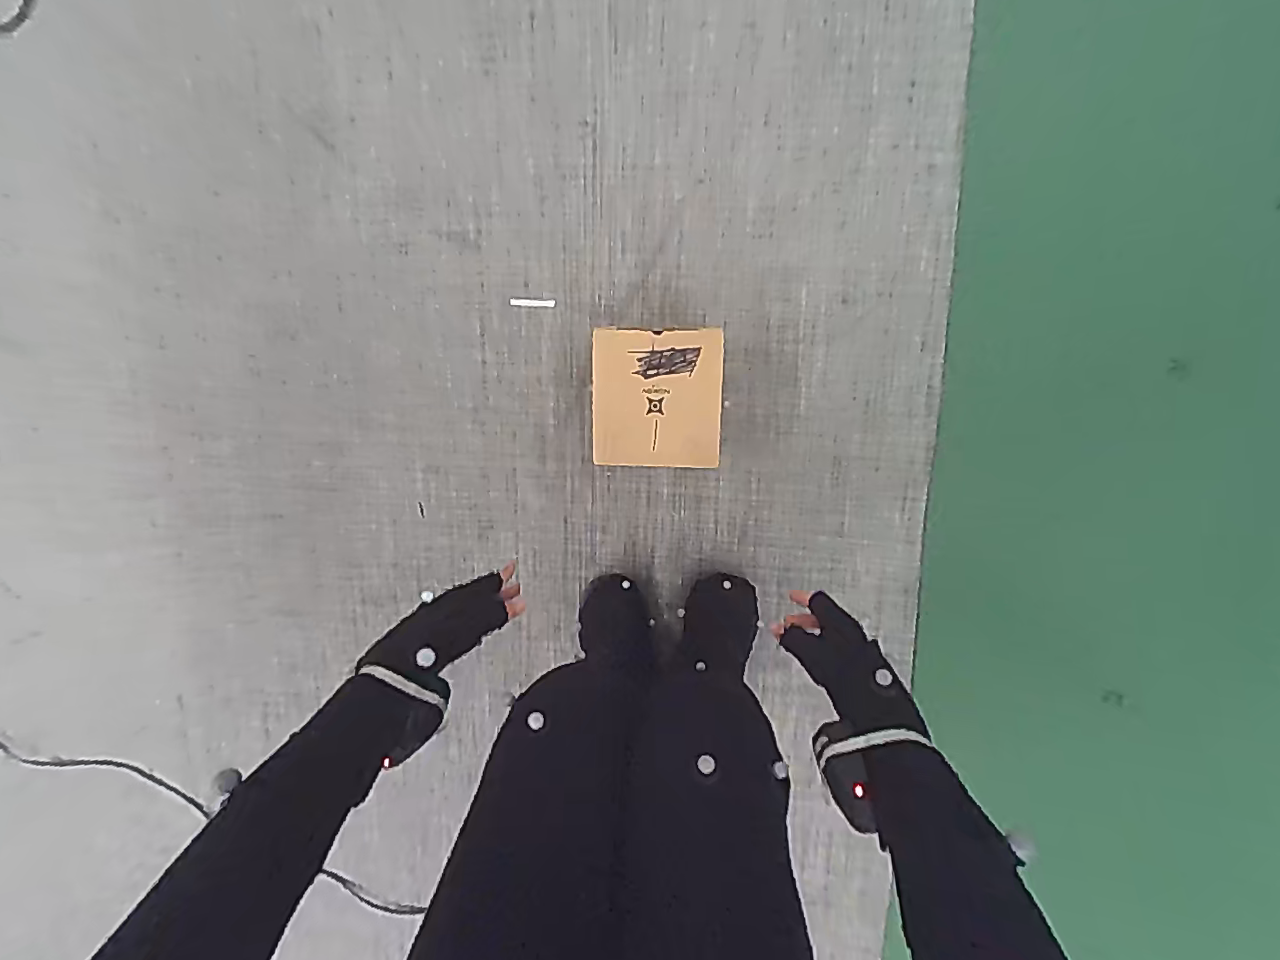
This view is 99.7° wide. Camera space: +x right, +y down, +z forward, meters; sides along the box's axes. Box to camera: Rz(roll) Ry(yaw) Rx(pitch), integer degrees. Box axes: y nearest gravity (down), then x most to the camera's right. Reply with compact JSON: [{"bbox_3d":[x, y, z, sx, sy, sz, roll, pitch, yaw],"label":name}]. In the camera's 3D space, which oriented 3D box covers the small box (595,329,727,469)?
[{"bbox_3d":[0.031,-0.115,0.763,0.168,0.176,0.179,2,101,6],"label":"small box"}]
